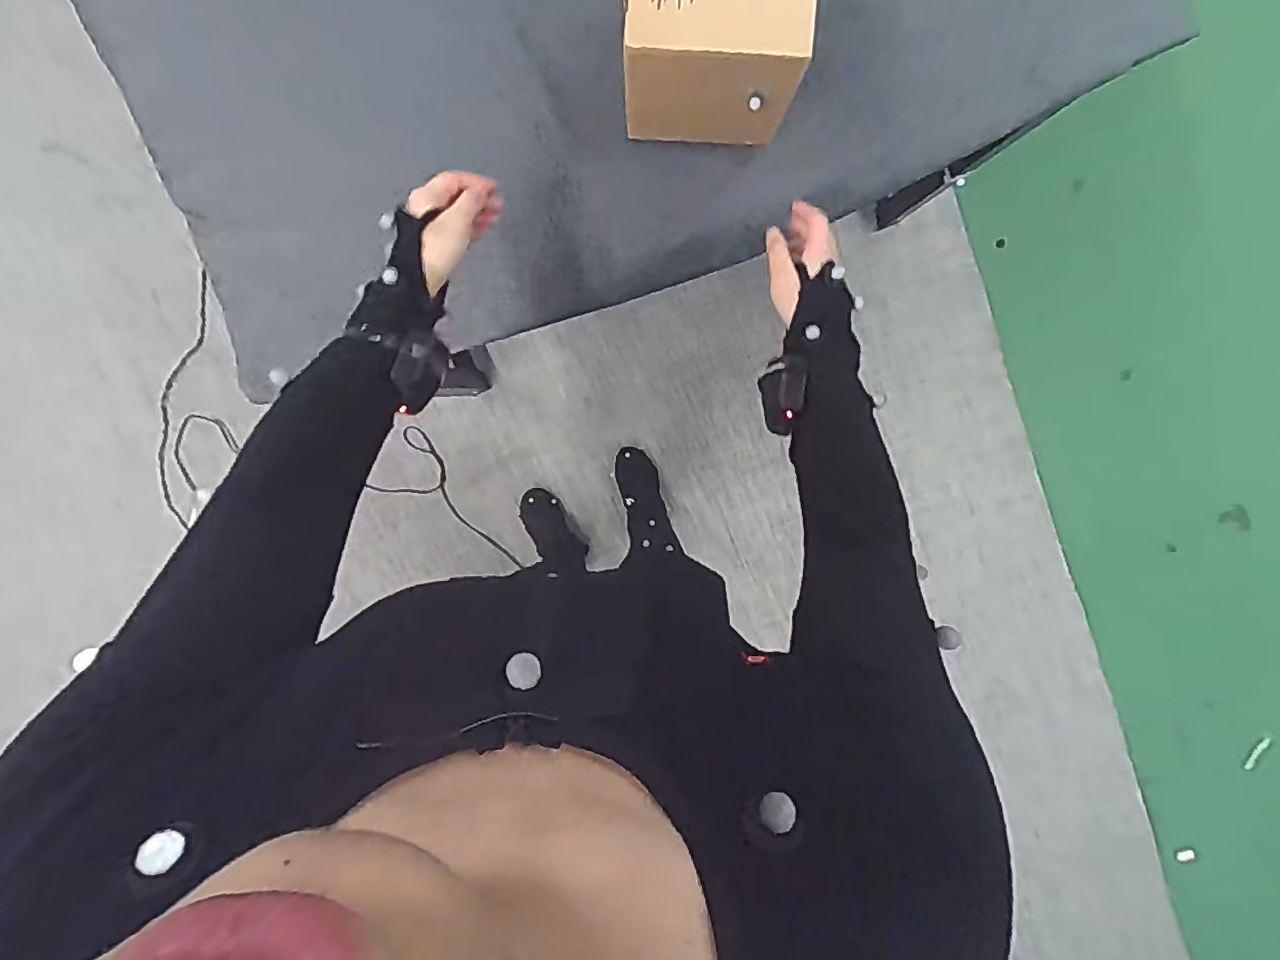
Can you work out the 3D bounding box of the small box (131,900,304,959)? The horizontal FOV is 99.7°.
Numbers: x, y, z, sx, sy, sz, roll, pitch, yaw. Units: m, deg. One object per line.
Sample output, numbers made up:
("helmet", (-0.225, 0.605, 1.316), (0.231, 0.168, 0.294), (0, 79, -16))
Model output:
("small box", (-0.571, 0.680, 0.680), (0.168, 0.176, 0.179), (-31, 100, 6))
